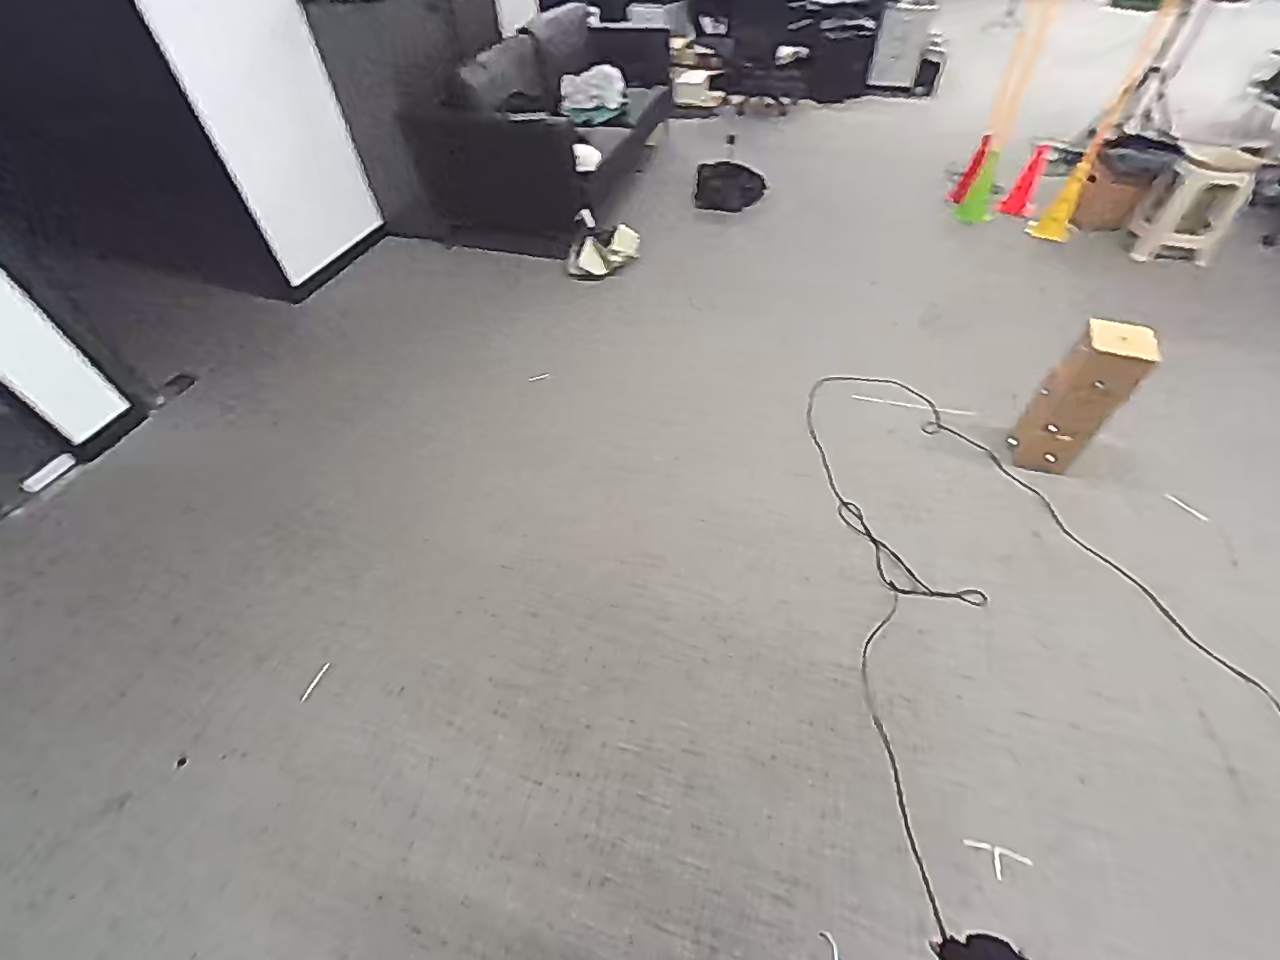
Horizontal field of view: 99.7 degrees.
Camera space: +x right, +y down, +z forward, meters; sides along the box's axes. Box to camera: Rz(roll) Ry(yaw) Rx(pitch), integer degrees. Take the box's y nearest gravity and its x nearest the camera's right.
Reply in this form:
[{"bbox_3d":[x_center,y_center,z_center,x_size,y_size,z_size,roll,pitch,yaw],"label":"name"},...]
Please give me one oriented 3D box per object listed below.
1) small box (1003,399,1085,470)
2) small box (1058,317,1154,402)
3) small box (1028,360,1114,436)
[{"bbox_3d":[1.435,-0.159,1.932,0.168,0.176,0.179,12,52,9],"label":"small box"},{"bbox_3d":[1.437,-0.373,1.681,0.168,0.176,0.179,17,53,16],"label":"small box"},{"bbox_3d":[1.435,-0.270,1.807,0.168,0.176,0.179,13,50,13],"label":"small box"}]
